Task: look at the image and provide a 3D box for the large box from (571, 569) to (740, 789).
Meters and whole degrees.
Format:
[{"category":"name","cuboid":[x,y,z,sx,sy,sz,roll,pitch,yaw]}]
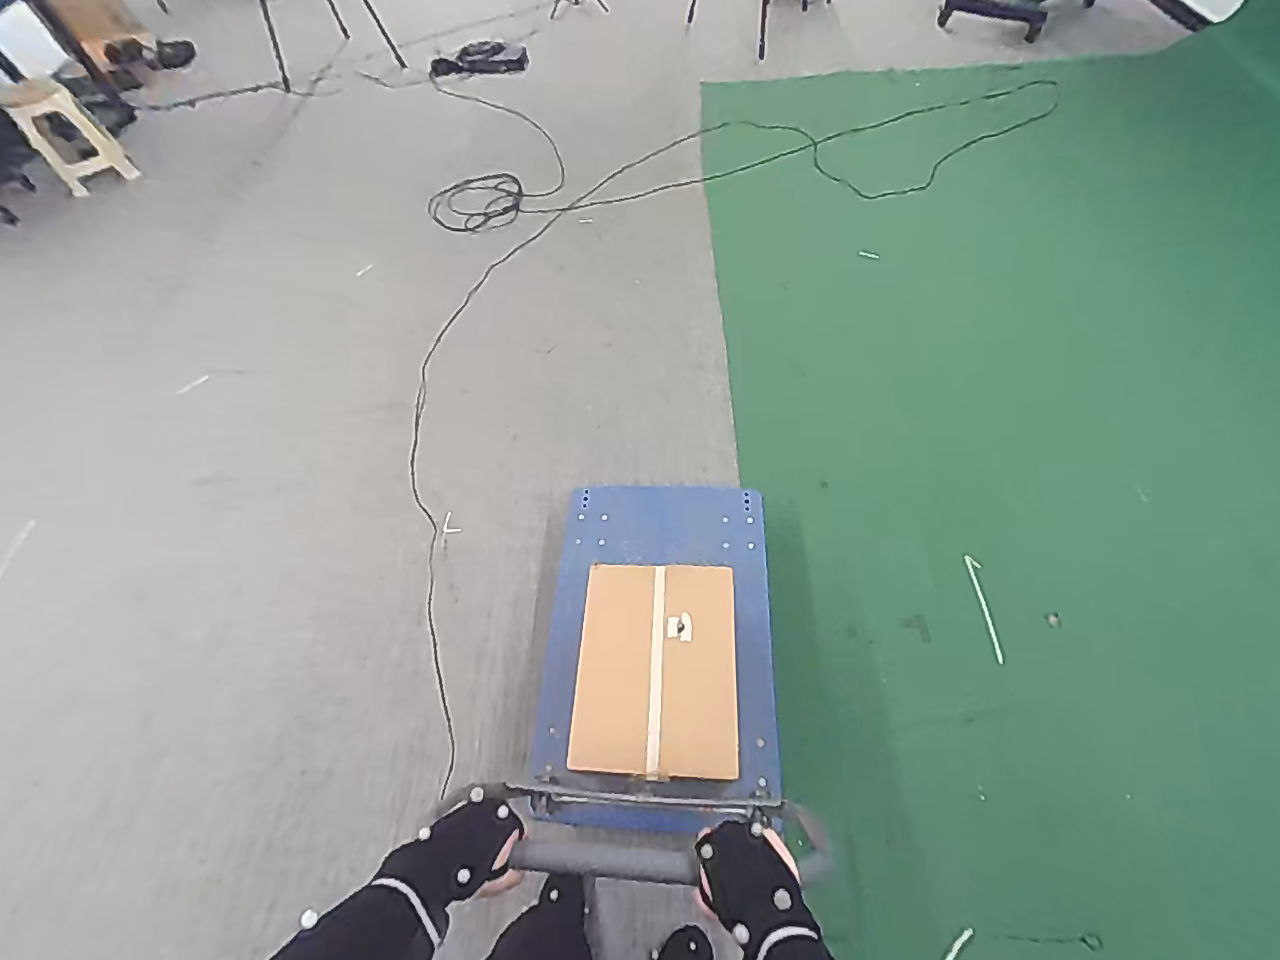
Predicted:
[{"category":"large box","cuboid":[0.047,0.444,1.200,0.320,0.320,0.408,1,57,5]}]
